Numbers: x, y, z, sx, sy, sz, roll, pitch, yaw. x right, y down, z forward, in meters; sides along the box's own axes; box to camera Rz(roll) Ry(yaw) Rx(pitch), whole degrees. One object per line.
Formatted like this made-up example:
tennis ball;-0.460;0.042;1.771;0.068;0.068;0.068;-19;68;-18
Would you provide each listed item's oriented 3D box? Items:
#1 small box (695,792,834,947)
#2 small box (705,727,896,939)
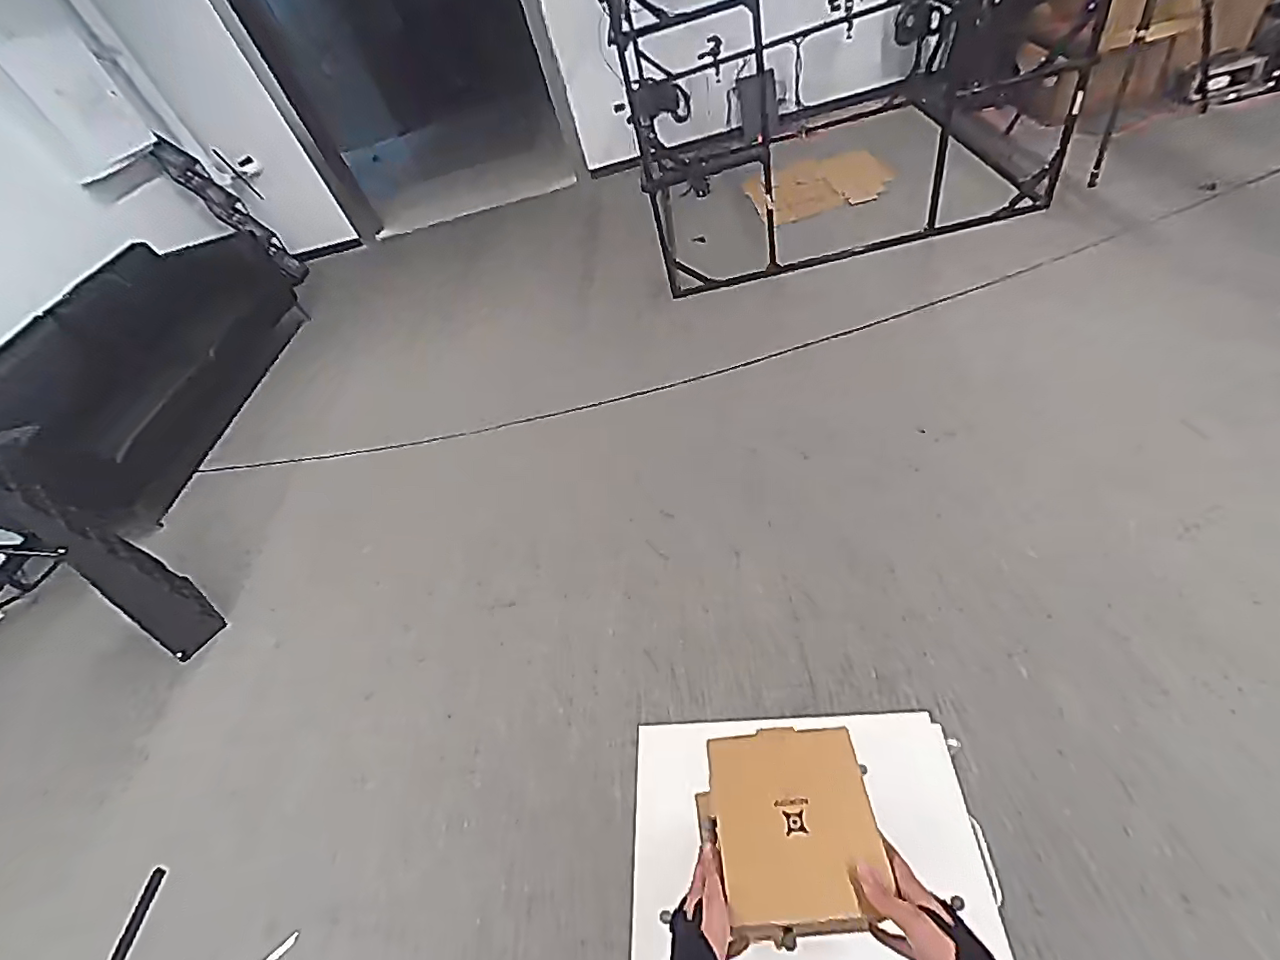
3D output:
small box;0.187;0.543;0.766;0.179;0.176;0.168;-13;46;6
small box;0.171;0.414;0.629;0.168;0.176;0.179;-7;44;3
